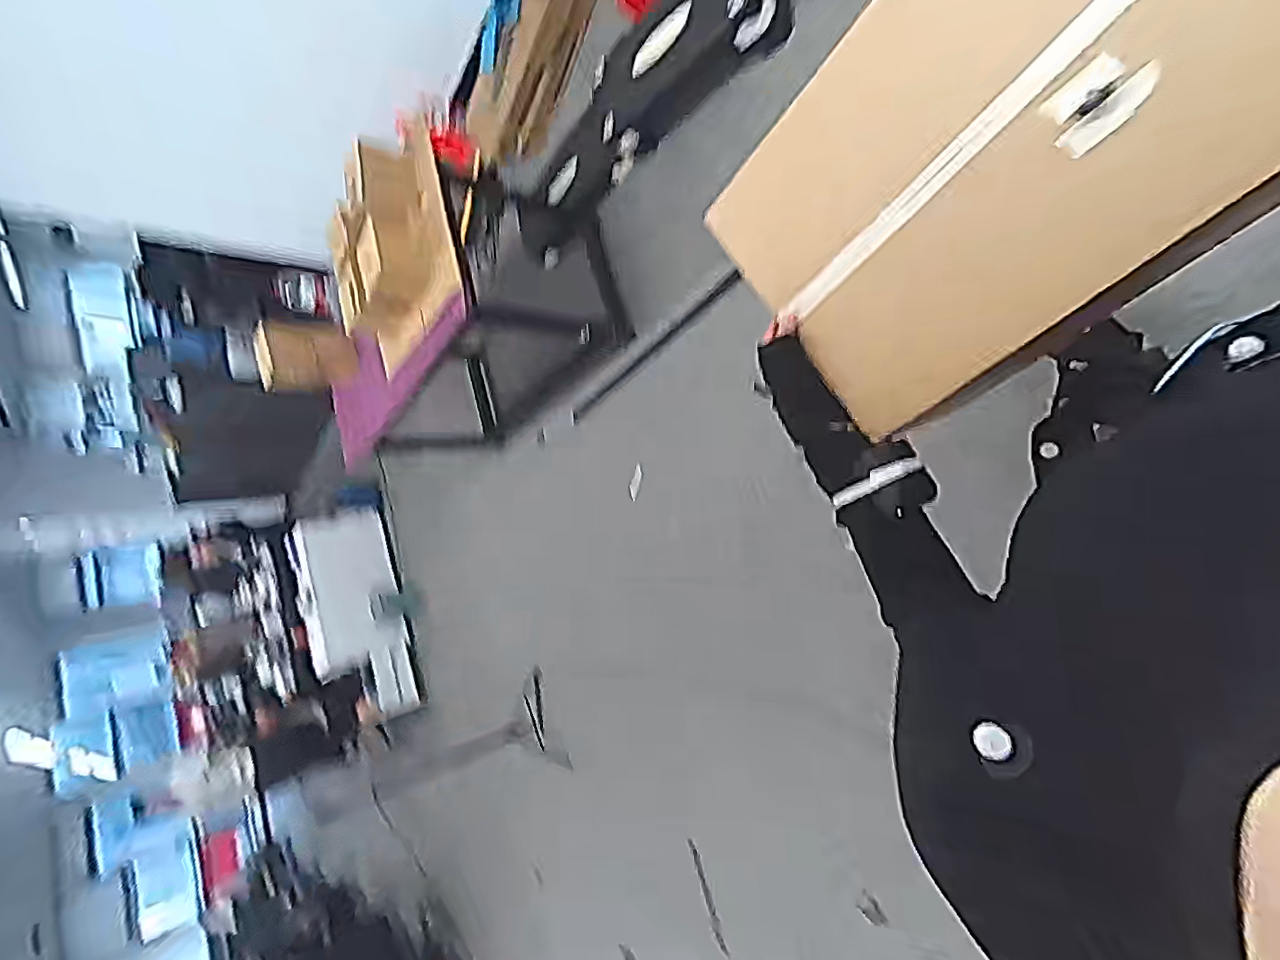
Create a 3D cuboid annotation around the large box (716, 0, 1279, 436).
[{"bbox_3d":[0.365,-0.294,0.564,0.408,0.320,0.320,-43,72,37],"label":"large box"}]
